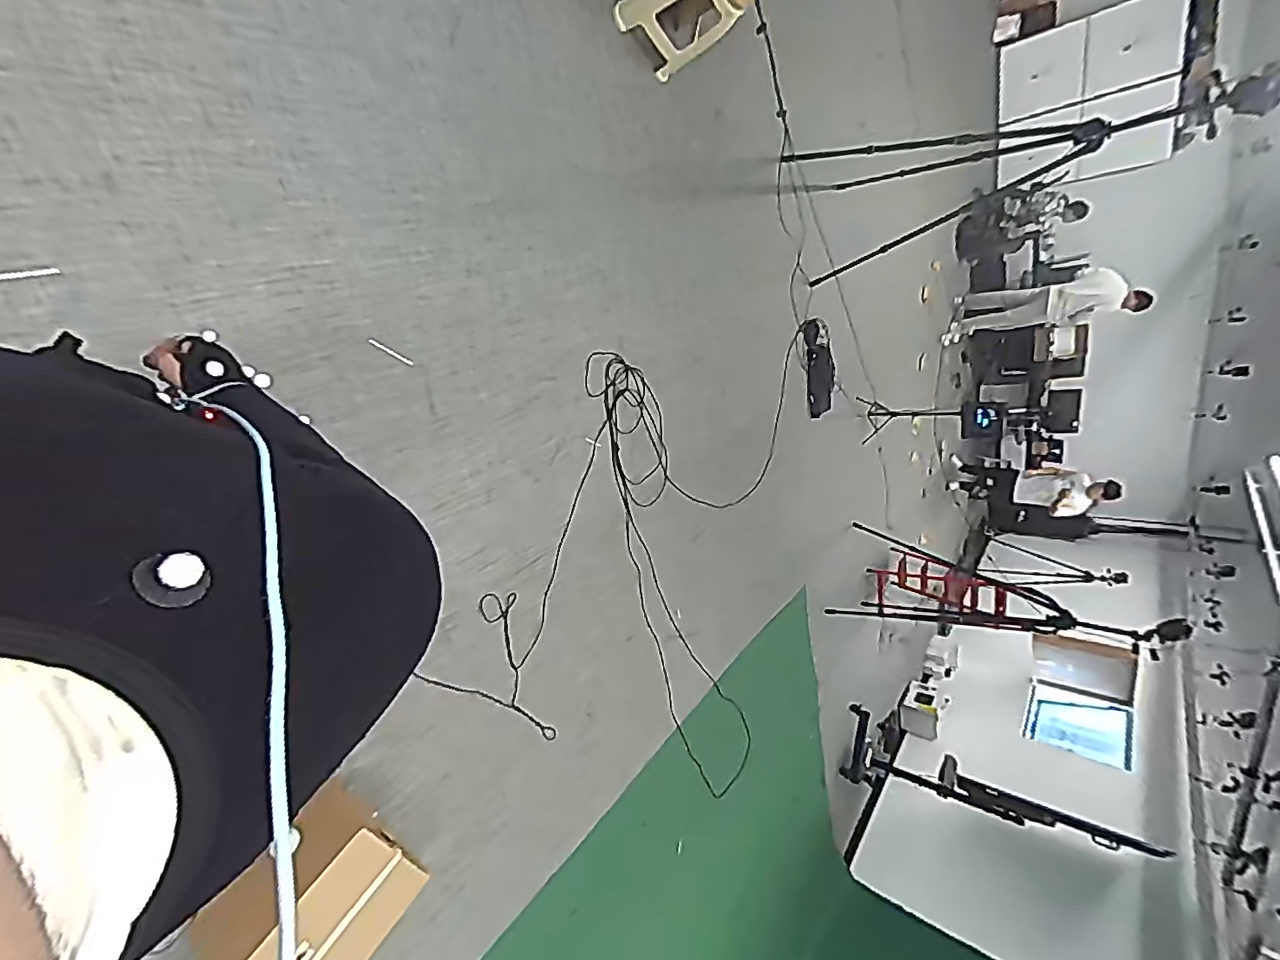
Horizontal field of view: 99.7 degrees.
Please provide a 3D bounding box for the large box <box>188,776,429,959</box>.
[{"bbox_3d":[-0.870,1.107,1.446,0.408,0.320,0.320,-47,126,-33],"label":"large box"}]
